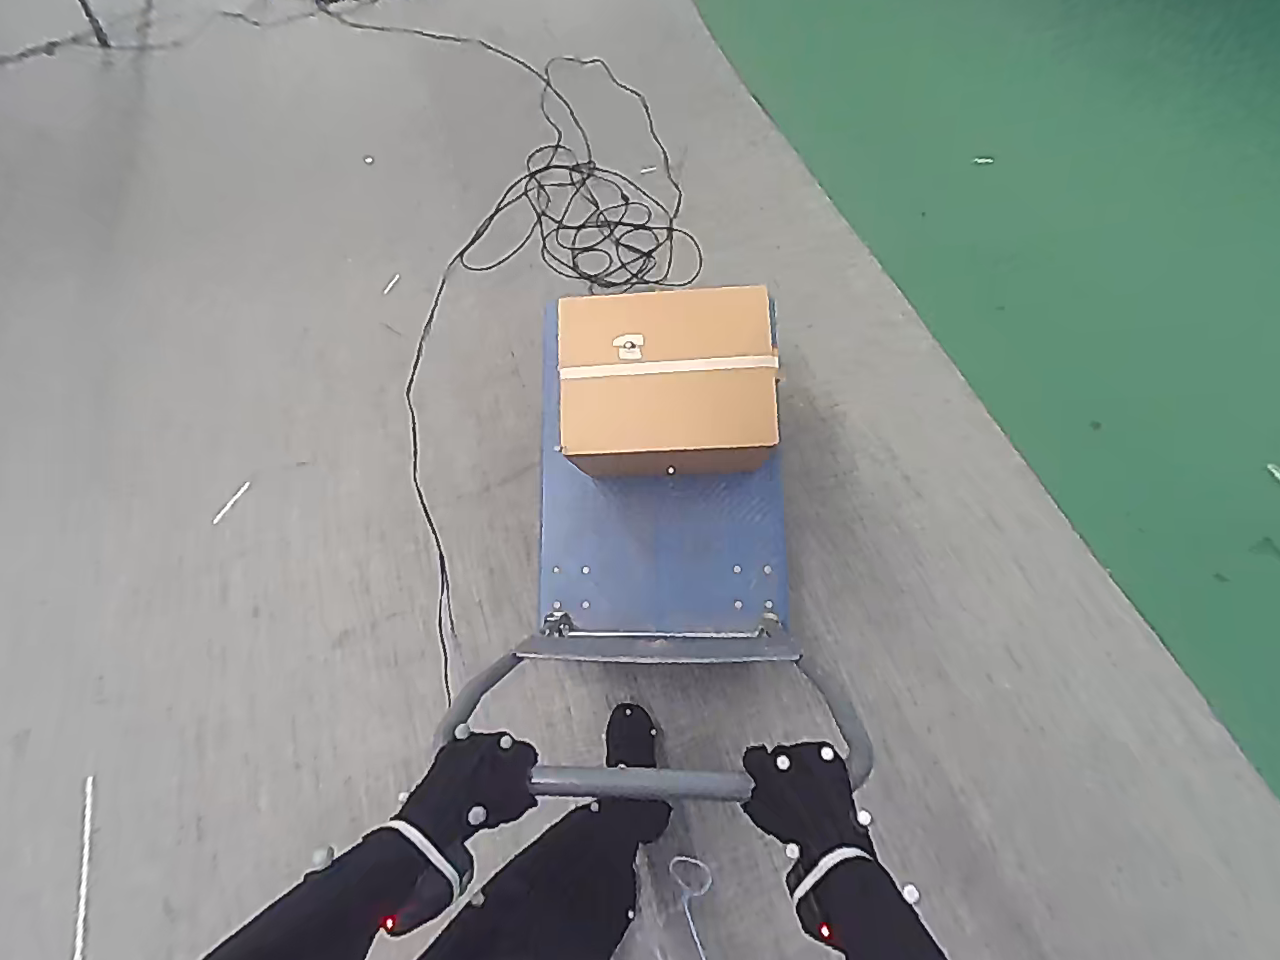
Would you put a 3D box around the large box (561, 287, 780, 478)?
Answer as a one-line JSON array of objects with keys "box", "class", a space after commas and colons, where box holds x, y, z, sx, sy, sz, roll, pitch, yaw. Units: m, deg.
[{"box": [0.067, -0.182, 1.161, 0.408, 0.320, 0.320, -3, 82, 6], "class": "large box"}]
